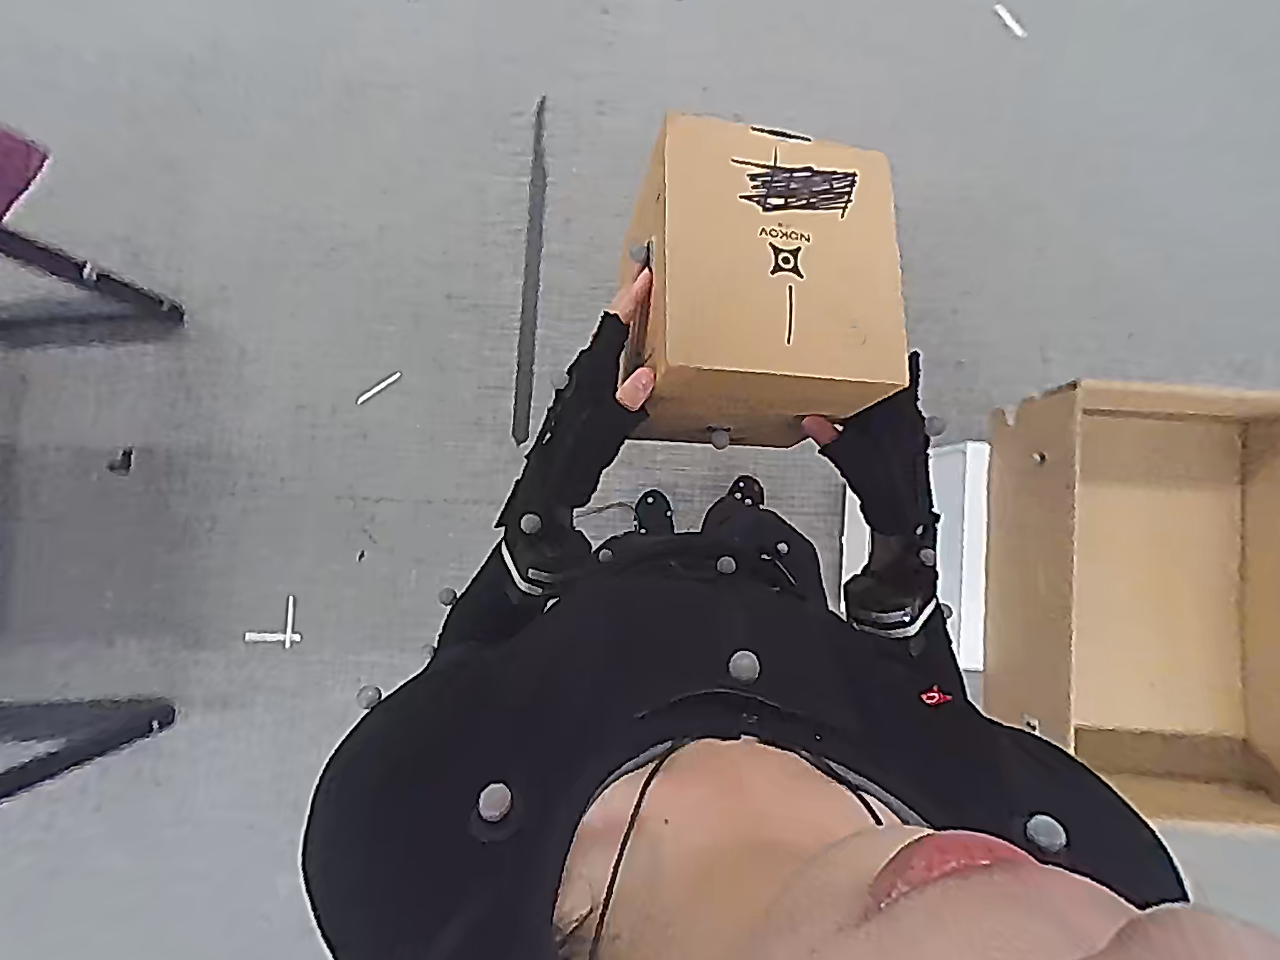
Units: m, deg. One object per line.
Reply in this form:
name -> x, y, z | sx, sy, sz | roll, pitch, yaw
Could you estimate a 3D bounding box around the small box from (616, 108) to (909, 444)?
small box -> 0.075, -0.138, 0.424 | 0.168, 0.176, 0.179 | 1, 78, -11
